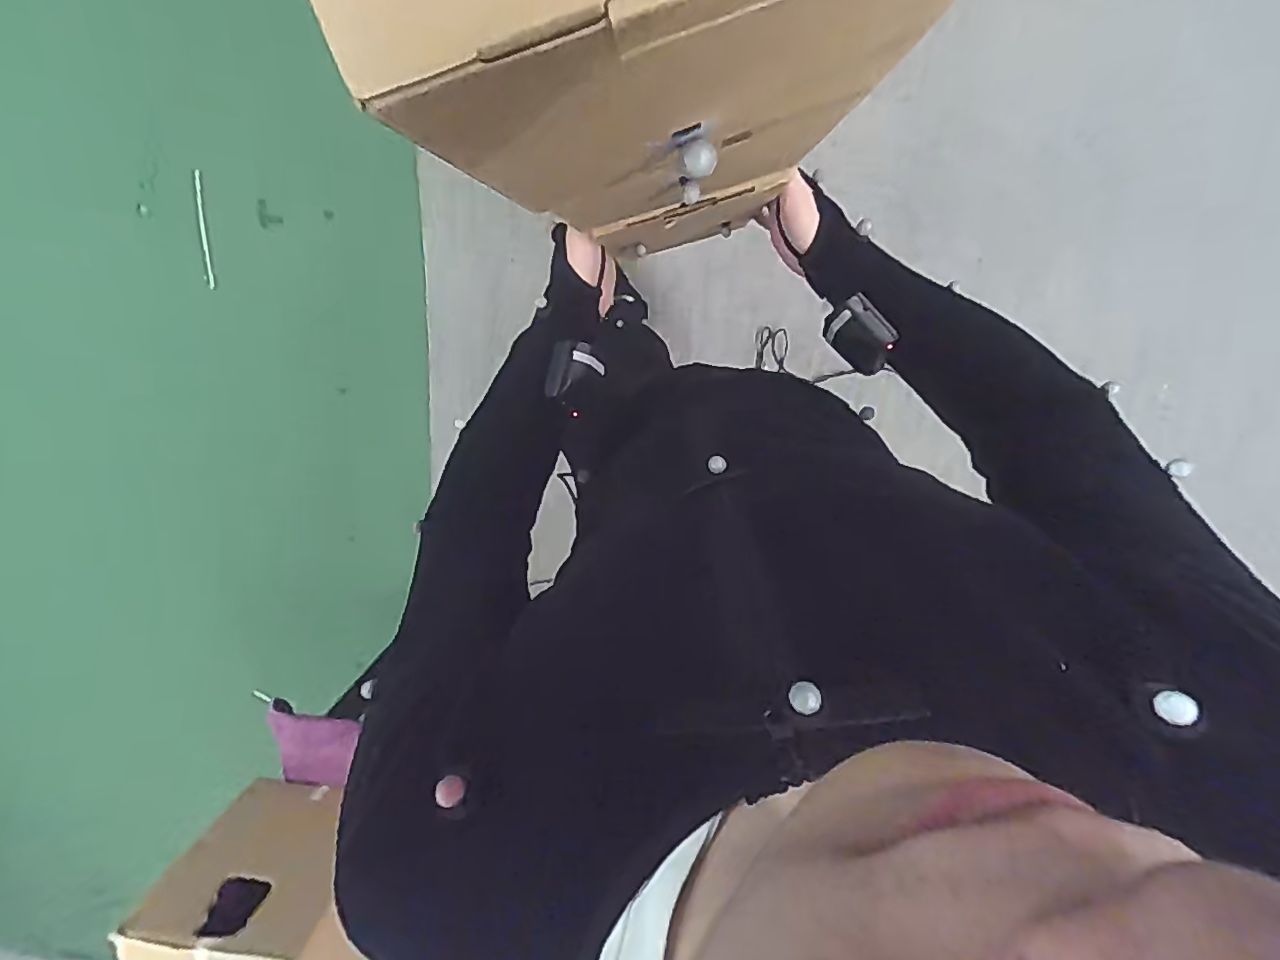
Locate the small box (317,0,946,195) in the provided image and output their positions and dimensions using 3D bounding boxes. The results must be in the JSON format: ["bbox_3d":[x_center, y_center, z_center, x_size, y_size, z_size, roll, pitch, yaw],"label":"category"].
[{"bbox_3d":[-0.002,-0.211,0.158,0.168,0.176,0.179,-13,108,9],"label":"small box"}]

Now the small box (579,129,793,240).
[{"bbox_3d":[0.024,-0.319,0.469,0.168,0.176,0.179,-12,107,7],"label":"small box"}]

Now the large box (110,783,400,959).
[{"bbox_3d":[-0.692,0.881,1.045,0.320,0.320,0.408,6,106,2],"label":"large box"}]
